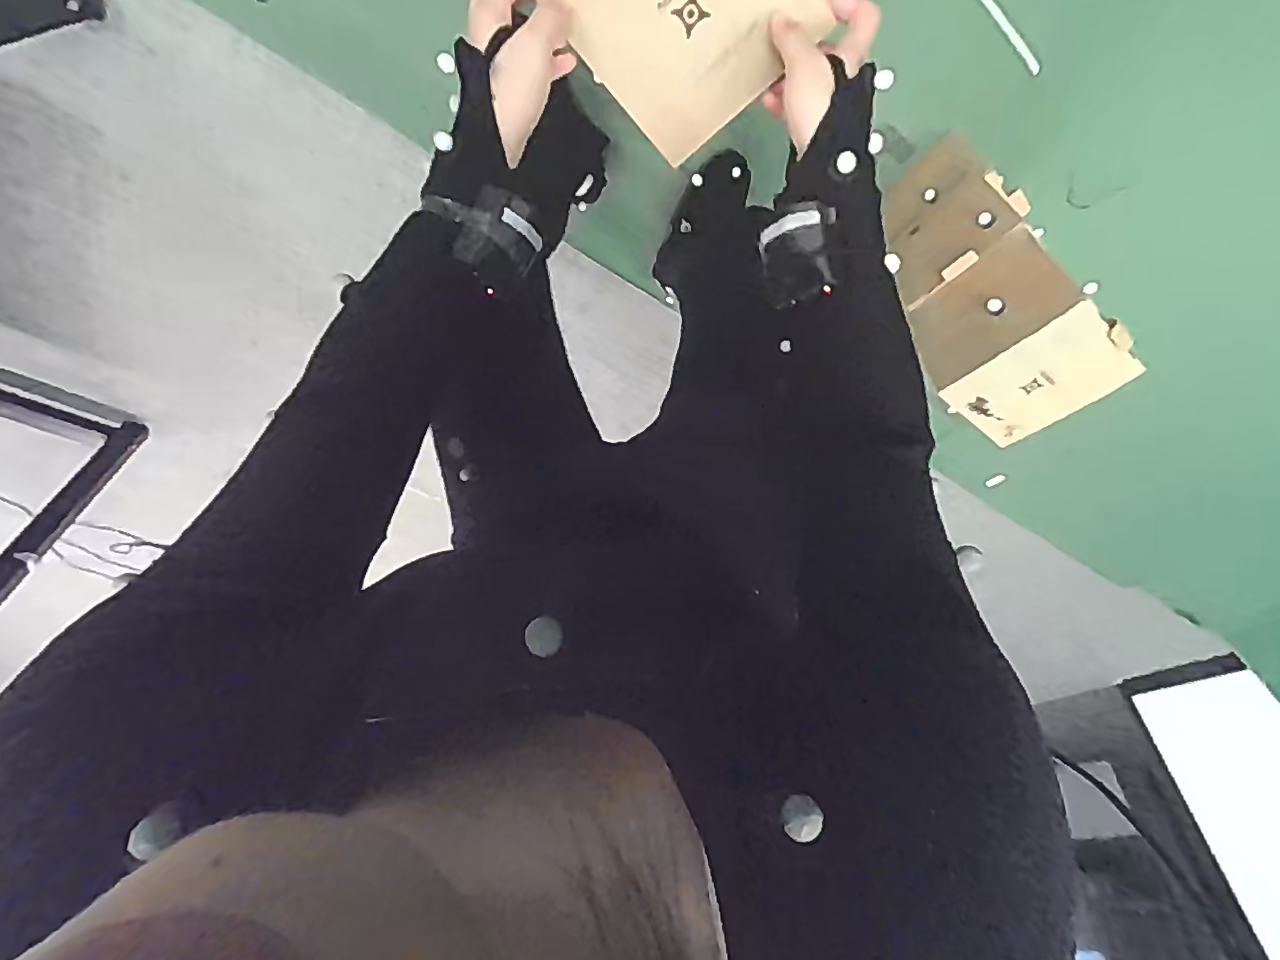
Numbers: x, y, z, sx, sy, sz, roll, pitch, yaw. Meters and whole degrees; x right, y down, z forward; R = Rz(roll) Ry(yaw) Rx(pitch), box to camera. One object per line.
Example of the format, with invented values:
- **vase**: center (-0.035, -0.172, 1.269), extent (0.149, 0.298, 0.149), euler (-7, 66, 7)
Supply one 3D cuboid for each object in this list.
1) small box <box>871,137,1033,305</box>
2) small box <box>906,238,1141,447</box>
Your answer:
- **small box**: center (0.523, -0.439, 0.933), extent (0.168, 0.176, 0.179), euler (31, 133, -29)
- **small box**: center (0.498, -0.183, 0.726), extent (0.168, 0.176, 0.179), euler (26, 134, -27)
